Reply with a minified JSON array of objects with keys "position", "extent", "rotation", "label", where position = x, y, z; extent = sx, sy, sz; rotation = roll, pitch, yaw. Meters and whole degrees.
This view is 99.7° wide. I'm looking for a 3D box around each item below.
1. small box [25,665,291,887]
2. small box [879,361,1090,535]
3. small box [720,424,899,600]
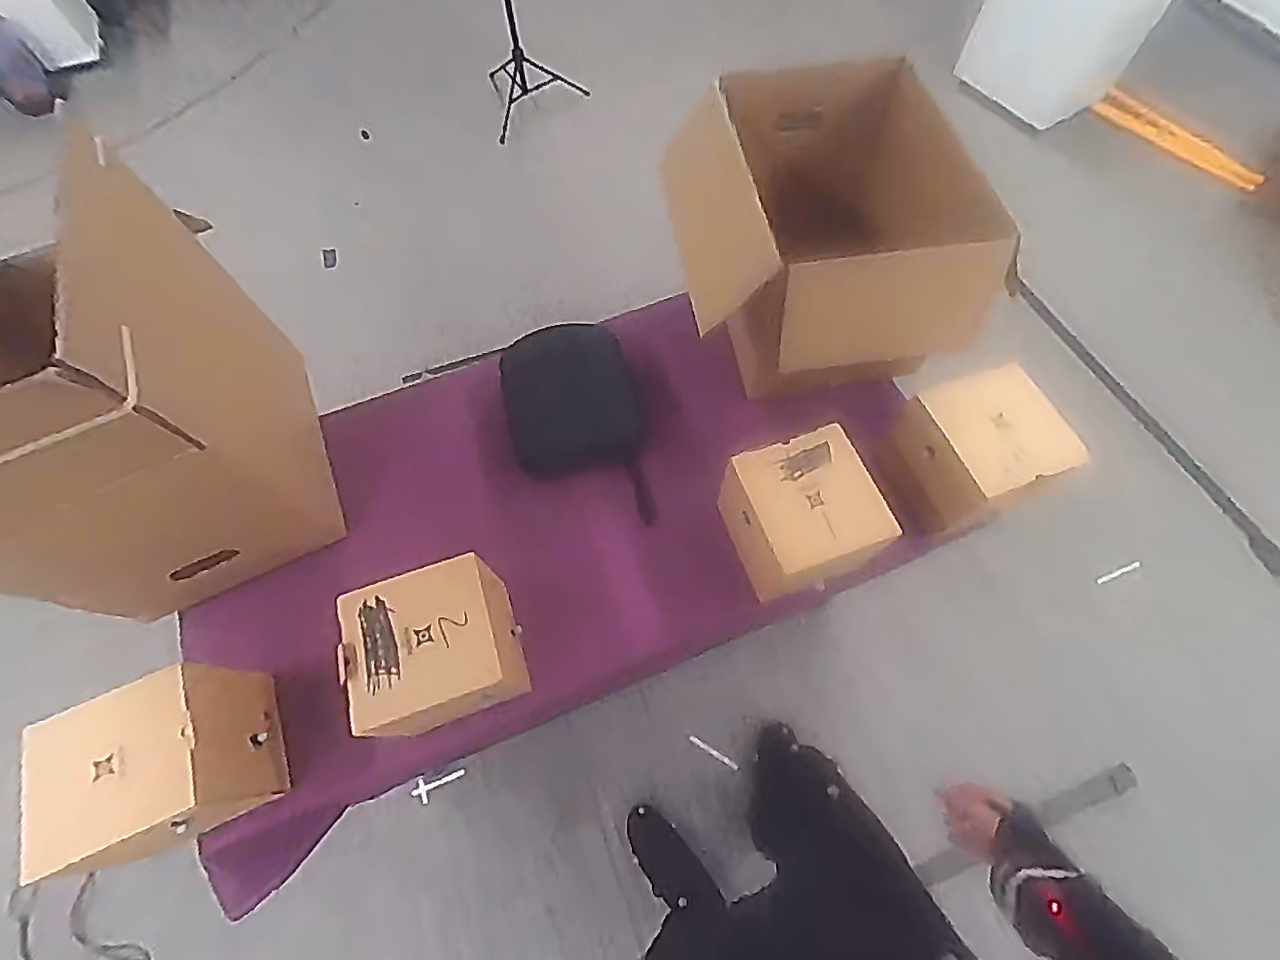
[{"position":[-0.578,0.353,0.667],"extent":[0.179,0.176,0.168],"rotation":[-24,67,-10],"label":"small box"},{"position":[0.493,-0.042,0.809],"extent":[0.168,0.176,0.179],"rotation":[-18,66,-6],"label":"small box"},{"position":[0.225,0.052,0.778],"extent":[0.168,0.176,0.179],"rotation":[-19,67,-6],"label":"small box"}]
